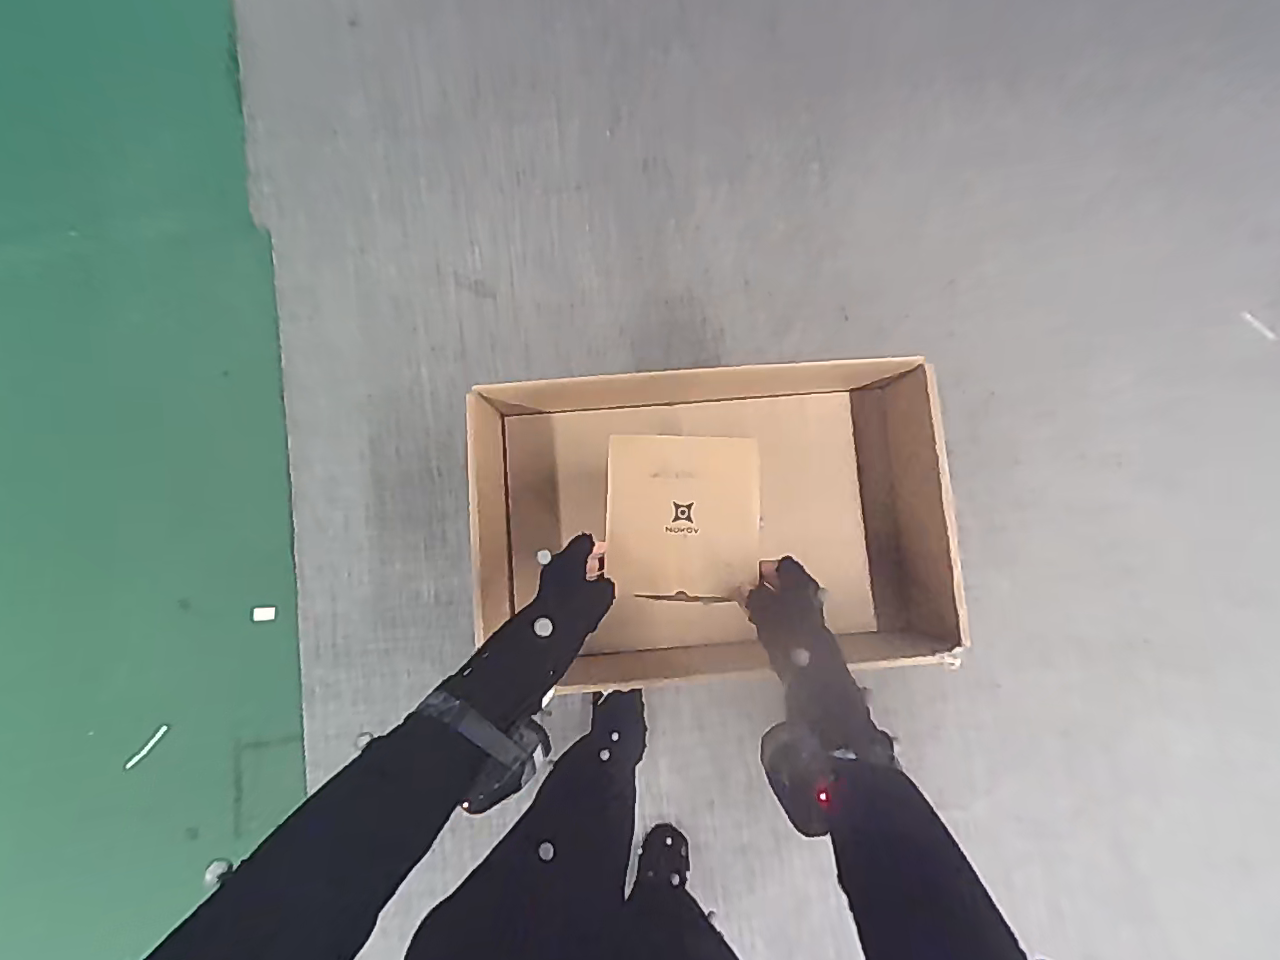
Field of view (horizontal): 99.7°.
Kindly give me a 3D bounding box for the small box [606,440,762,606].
[{"bbox_3d":[0.049,0.052,0.657,0.168,0.176,0.179,1,84,0],"label":"small box"}]
